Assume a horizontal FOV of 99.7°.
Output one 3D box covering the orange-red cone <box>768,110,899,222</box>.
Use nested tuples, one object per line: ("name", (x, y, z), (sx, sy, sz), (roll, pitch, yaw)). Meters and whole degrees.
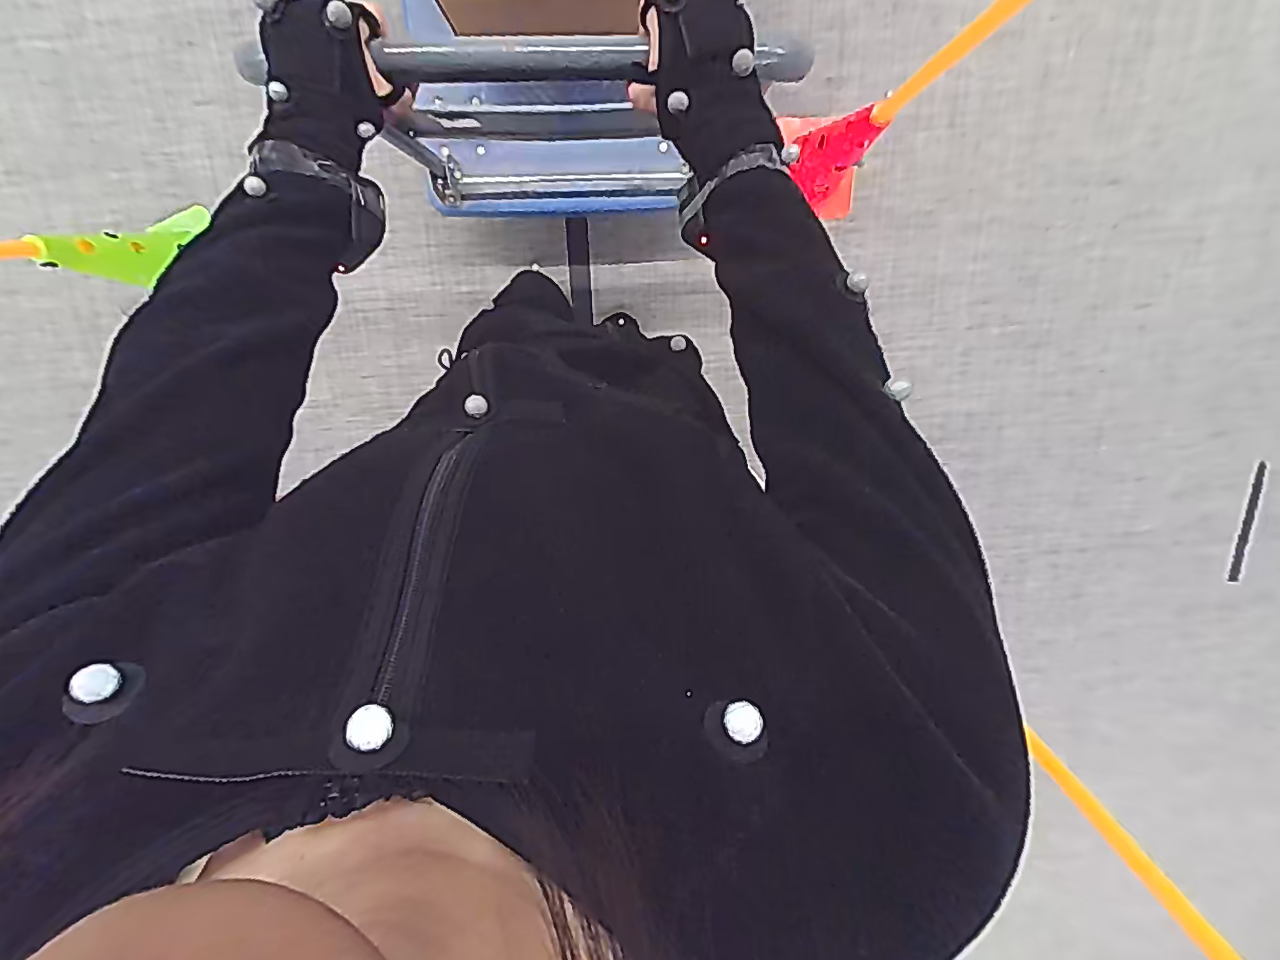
("orange-red cone", (0.406, -0.647, 1.061), (0.199, 0.360, 0.198), (3, 107, -4))
